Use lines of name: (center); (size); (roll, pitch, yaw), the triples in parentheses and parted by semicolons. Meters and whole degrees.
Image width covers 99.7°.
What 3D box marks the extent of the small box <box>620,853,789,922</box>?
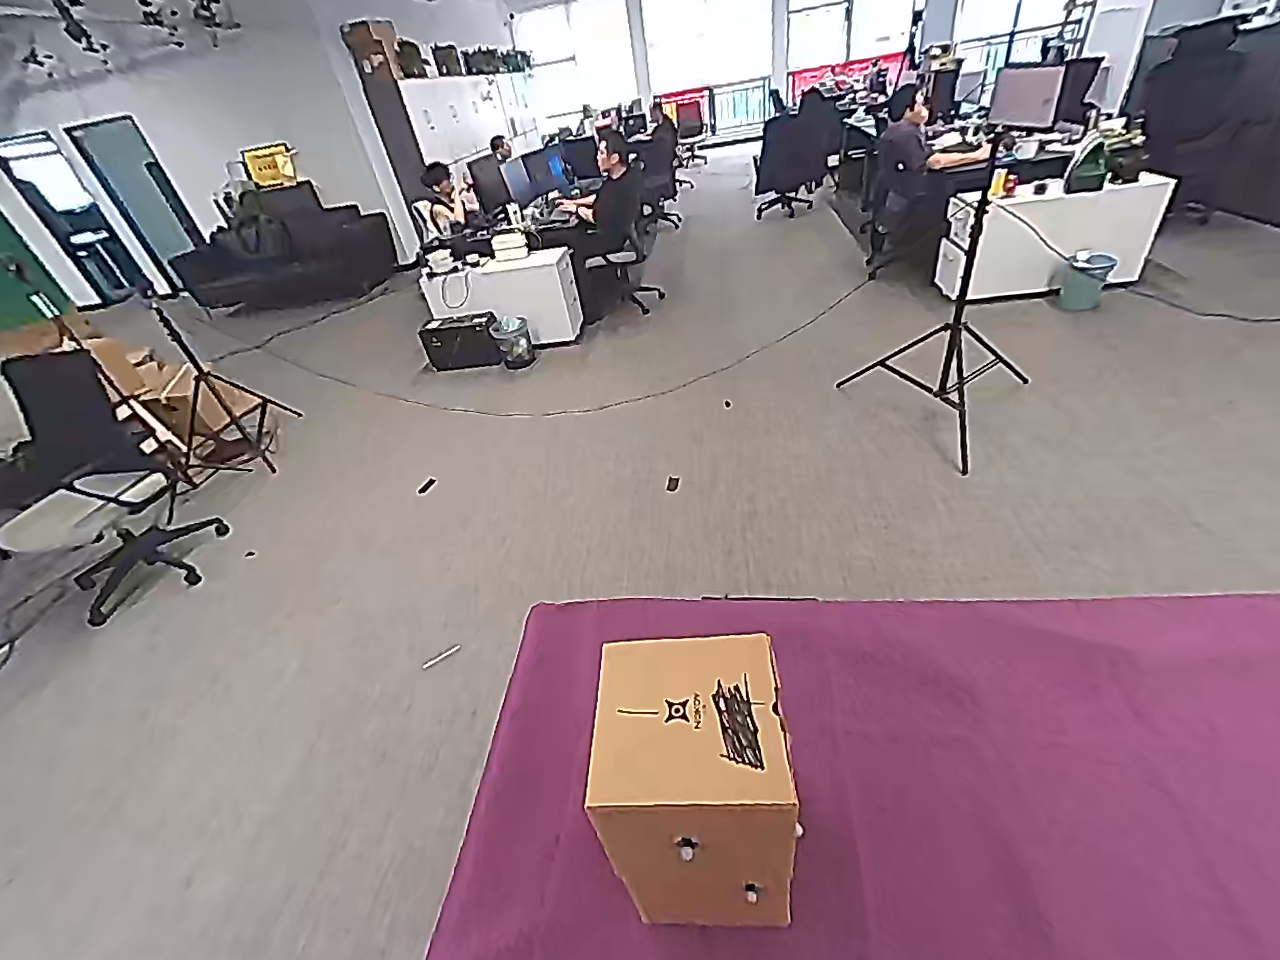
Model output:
small box: (0.080, 0.408, 0.654); (0.179, 0.176, 0.168); (-5, 37, 7)

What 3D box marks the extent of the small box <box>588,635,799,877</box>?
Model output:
small box: (0.057, 0.280, 0.553); (0.179, 0.176, 0.168); (-6, 36, 7)
